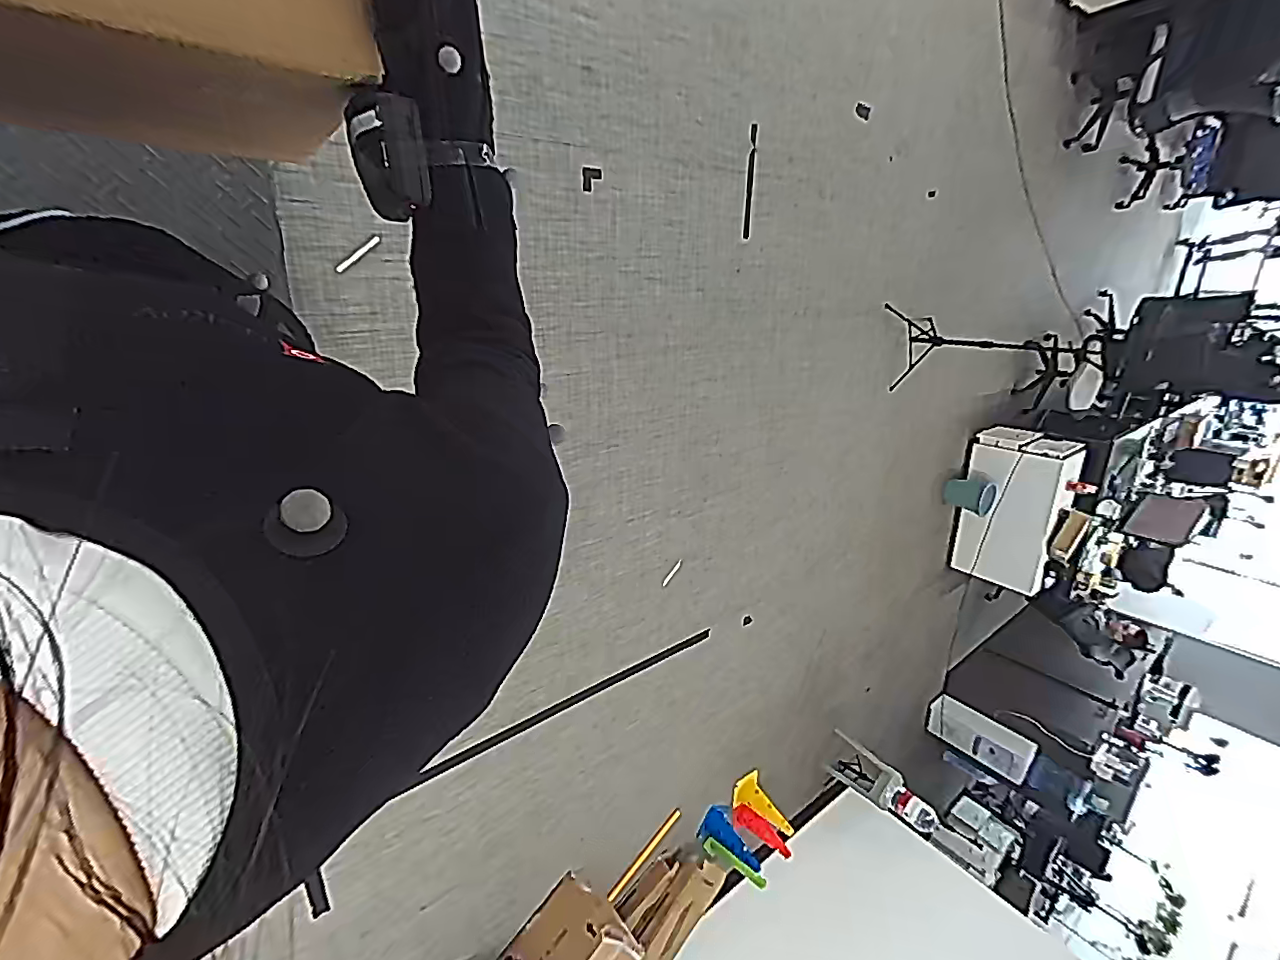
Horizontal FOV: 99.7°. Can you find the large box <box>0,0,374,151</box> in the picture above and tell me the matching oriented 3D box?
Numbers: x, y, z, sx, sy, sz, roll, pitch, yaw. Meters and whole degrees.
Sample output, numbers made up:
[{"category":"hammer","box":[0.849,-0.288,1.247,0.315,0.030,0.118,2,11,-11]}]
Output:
[{"category":"large box","box":[-0.409,-0.391,0.272,0.408,0.320,0.320,-14,116,-36]}]
